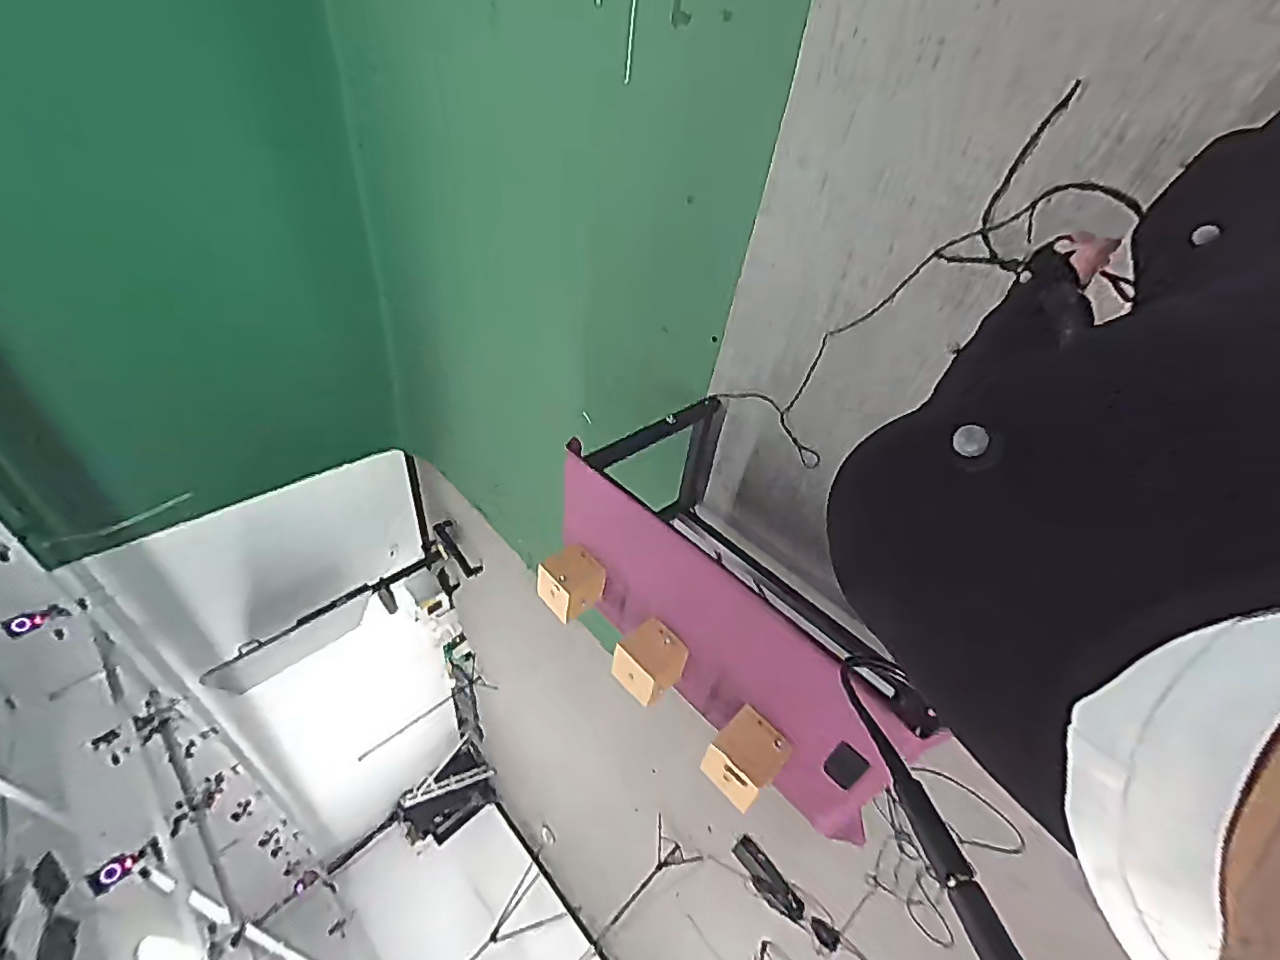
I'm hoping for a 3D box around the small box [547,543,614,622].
[{"bbox_3d":[-0.209,0.357,1.904,0.168,0.176,0.179,38,139,27],"label":"small box"}]

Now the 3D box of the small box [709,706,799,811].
[{"bbox_3d":[0.323,0.778,1.527,0.168,0.176,0.179,38,139,30],"label":"small box"}]

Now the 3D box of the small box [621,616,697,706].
[{"bbox_3d":[0.061,0.571,1.717,0.168,0.176,0.179,38,138,28],"label":"small box"}]
